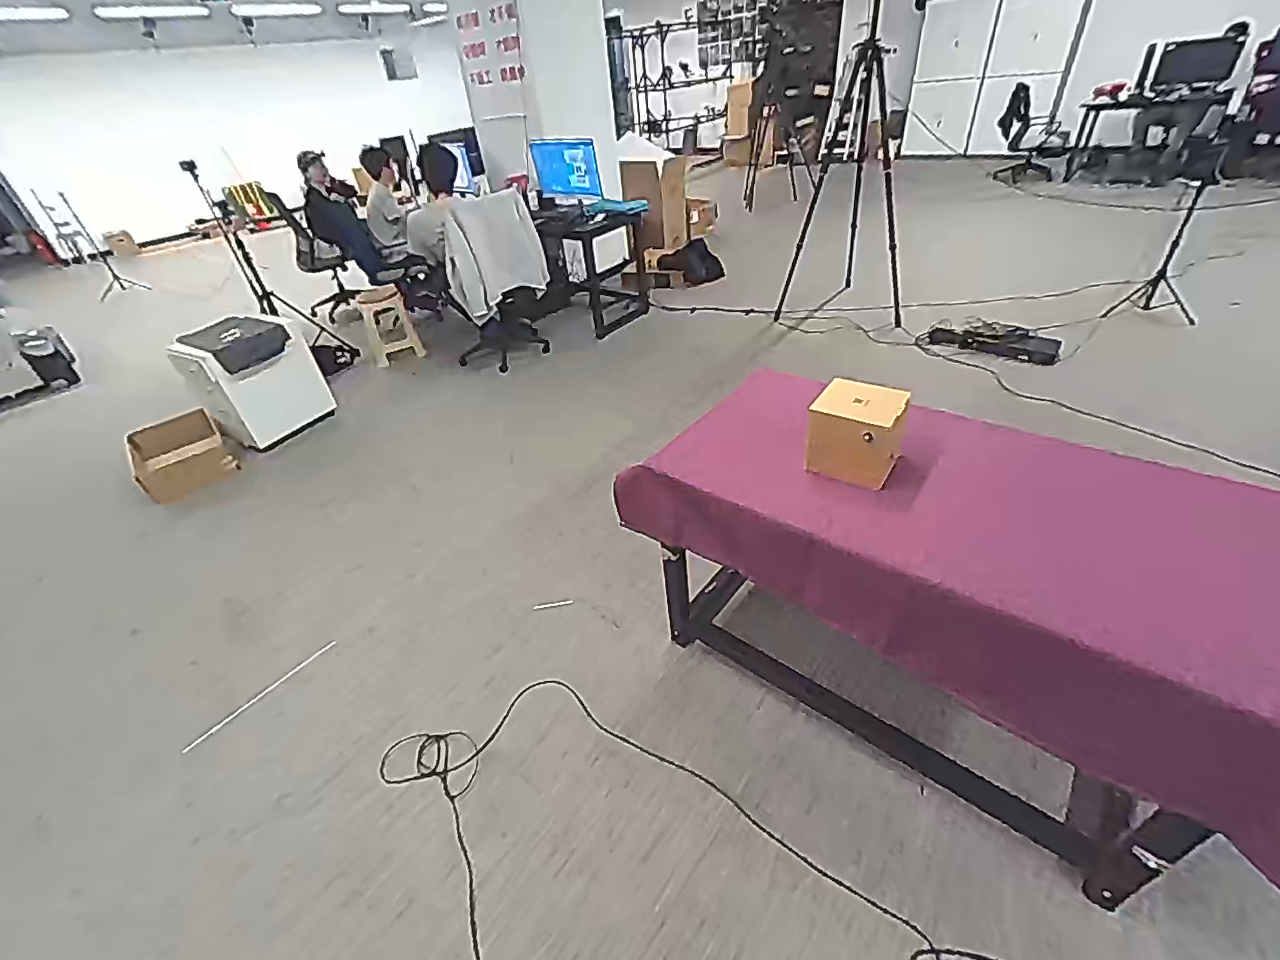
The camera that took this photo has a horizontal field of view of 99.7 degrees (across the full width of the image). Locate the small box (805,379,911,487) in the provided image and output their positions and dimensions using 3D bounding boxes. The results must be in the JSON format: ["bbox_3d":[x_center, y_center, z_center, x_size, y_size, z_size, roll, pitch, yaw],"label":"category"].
[{"bbox_3d":[0.492,-0.108,1.237,0.179,0.176,0.168,20,45,30],"label":"small box"}]
